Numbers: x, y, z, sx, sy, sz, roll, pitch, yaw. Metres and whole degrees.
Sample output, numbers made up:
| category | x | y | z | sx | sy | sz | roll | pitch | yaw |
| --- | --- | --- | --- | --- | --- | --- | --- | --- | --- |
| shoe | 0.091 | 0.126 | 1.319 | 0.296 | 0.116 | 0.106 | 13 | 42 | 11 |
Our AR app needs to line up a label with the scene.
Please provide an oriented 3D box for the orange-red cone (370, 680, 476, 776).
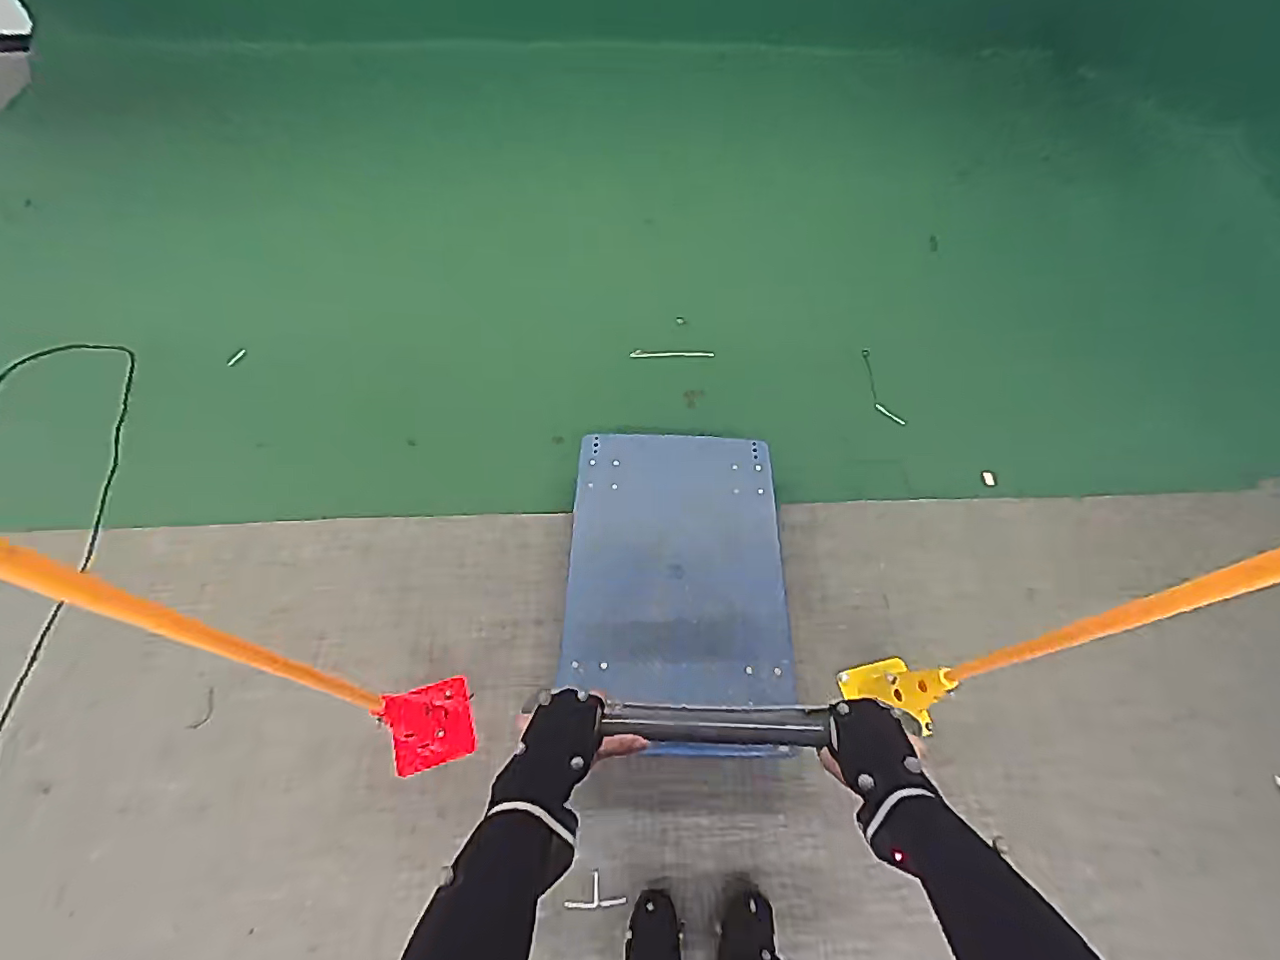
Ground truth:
| category | x | y | z | sx | sy | sz | roll | pitch | yaw |
| --- | --- | --- | --- | --- | --- | --- | --- | --- | --- |
| orange-red cone | -0.528 | 0.548 | 1.240 | 0.199 | 0.360 | 0.198 | -15 | 61 | -8 |
